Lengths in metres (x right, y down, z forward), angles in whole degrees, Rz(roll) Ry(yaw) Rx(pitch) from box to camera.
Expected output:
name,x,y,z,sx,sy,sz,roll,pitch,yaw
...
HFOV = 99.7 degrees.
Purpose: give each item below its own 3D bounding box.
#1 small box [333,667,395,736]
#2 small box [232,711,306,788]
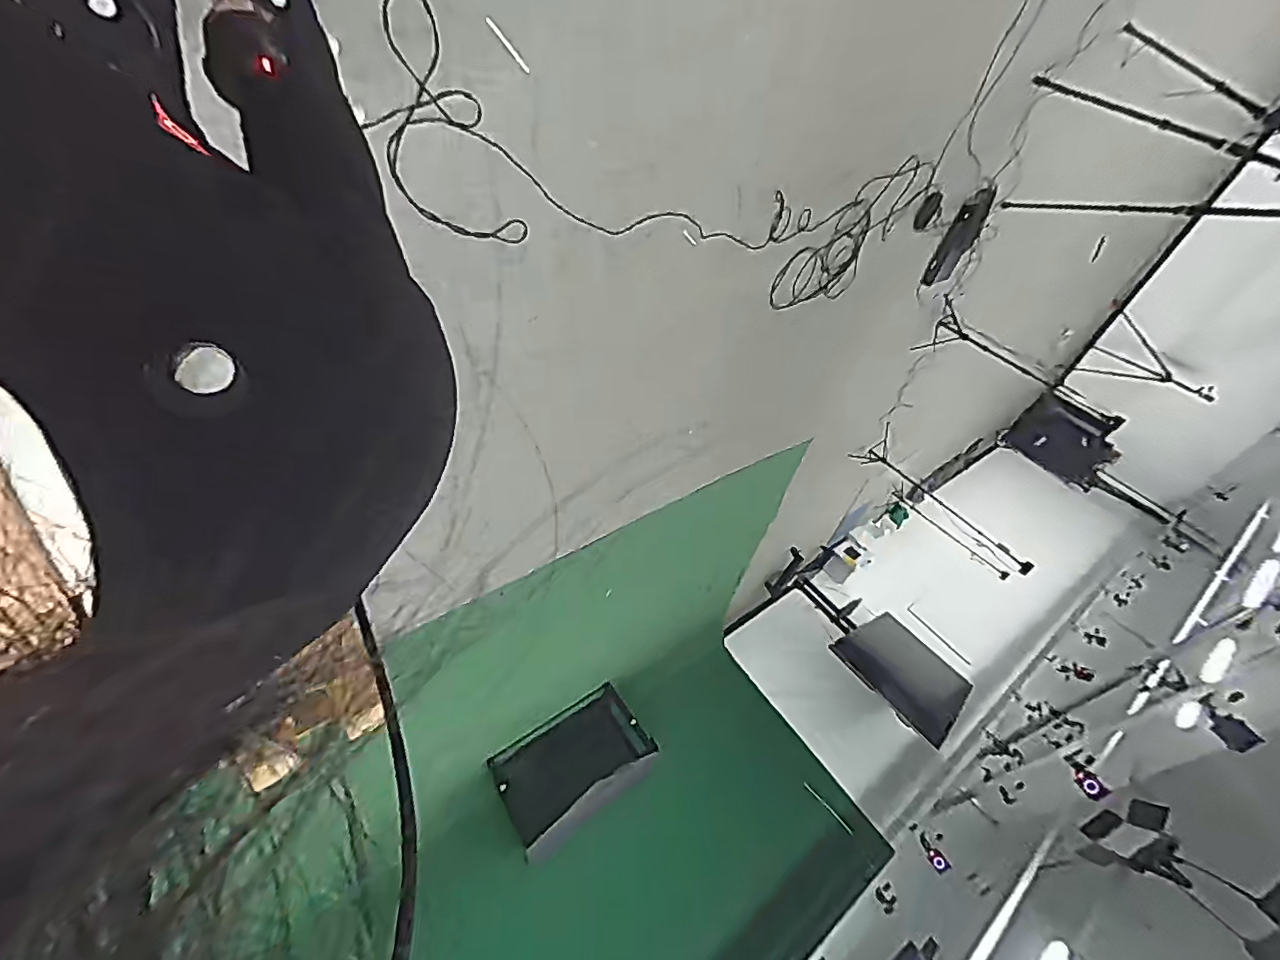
name,x,y,z,sx,sy,sz,roll,pitch,yaw
small box,-1.099,0.873,2.153,0.168,0.176,0.179,-22,143,-32
small box,-1.362,0.986,1.986,0.168,0.176,0.179,-24,145,-31
